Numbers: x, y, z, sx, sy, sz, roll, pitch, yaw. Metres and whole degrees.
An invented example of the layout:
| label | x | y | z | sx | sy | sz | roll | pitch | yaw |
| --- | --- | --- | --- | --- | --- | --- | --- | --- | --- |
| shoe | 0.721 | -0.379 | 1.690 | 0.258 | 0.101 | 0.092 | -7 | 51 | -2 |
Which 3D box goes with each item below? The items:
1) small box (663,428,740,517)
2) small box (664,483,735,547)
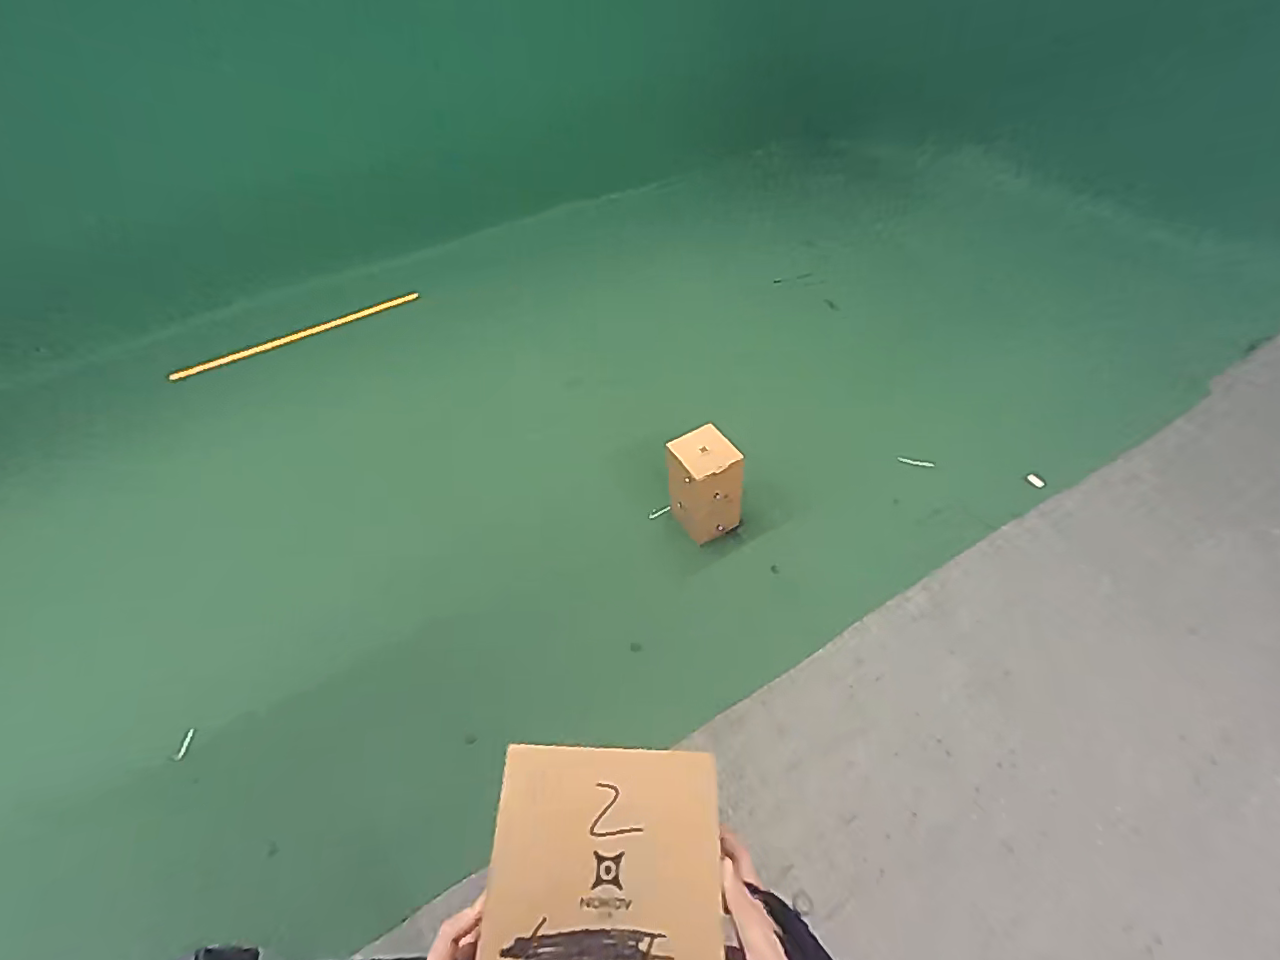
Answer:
| label | x | y | z | sx | sy | sz | roll | pitch | yaw |
| --- | --- | --- | --- | --- | --- | --- | --- | --- | --- |
| small box | 0.182 | -0.021 | 1.650 | 0.168 | 0.176 | 0.179 | -25 | 52 | -17 |
| small box | 0.191 | 0.087 | 1.770 | 0.168 | 0.176 | 0.179 | -25 | 51 | -16 |
